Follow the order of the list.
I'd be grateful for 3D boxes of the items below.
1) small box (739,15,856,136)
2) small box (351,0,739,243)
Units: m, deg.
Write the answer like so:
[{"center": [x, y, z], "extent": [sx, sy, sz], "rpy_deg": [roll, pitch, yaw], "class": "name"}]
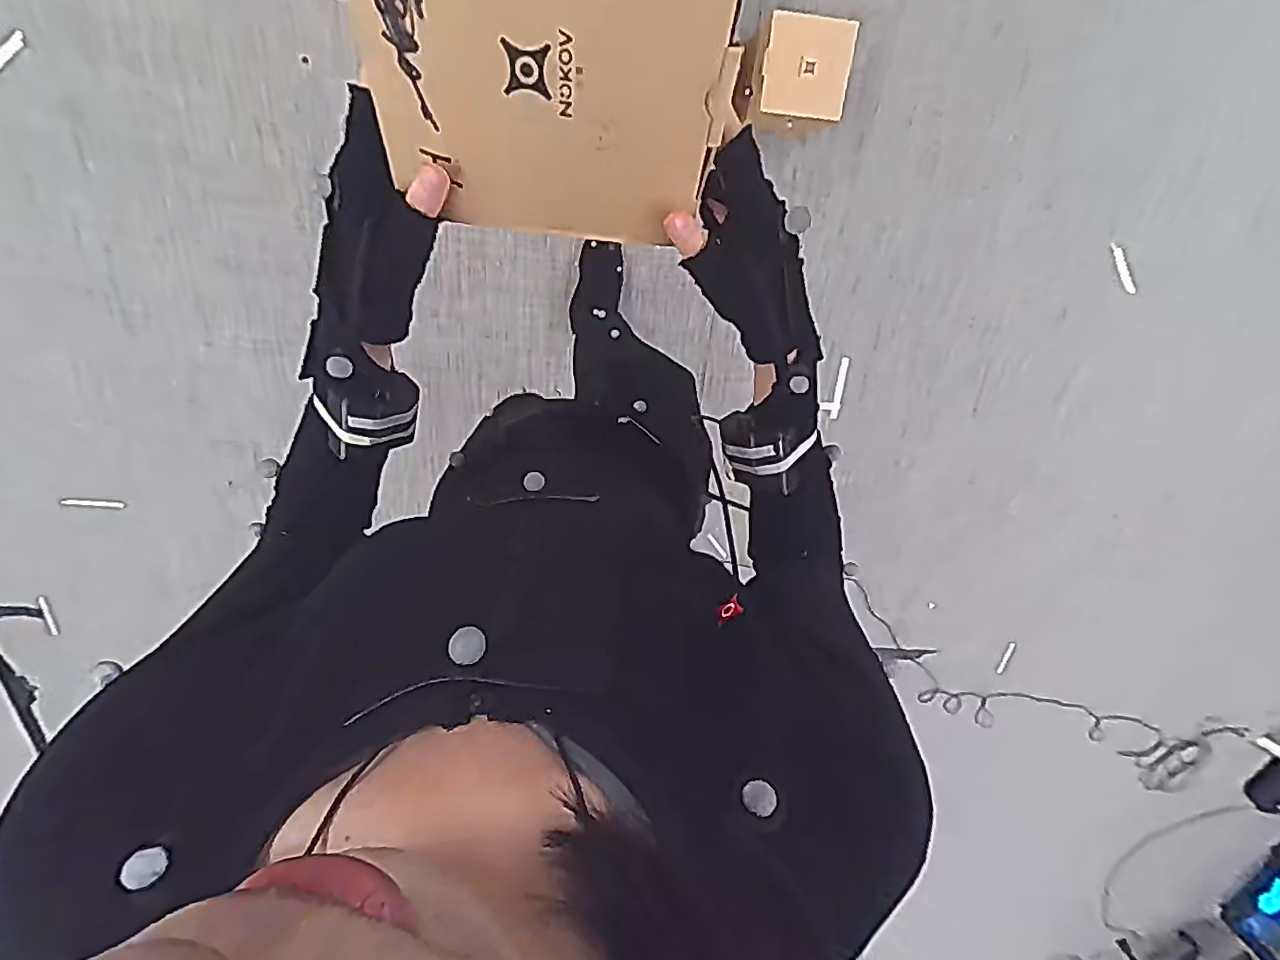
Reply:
[{"center": [0.320, -0.841, 1.142], "extent": [0.179, 0.176, 0.168], "rpy_deg": [2, 115, -7], "class": "small box"}, {"center": [-0.047, -0.266, 0.311], "extent": [0.179, 0.176, 0.168], "rpy_deg": [4, 144, -6], "class": "small box"}]
